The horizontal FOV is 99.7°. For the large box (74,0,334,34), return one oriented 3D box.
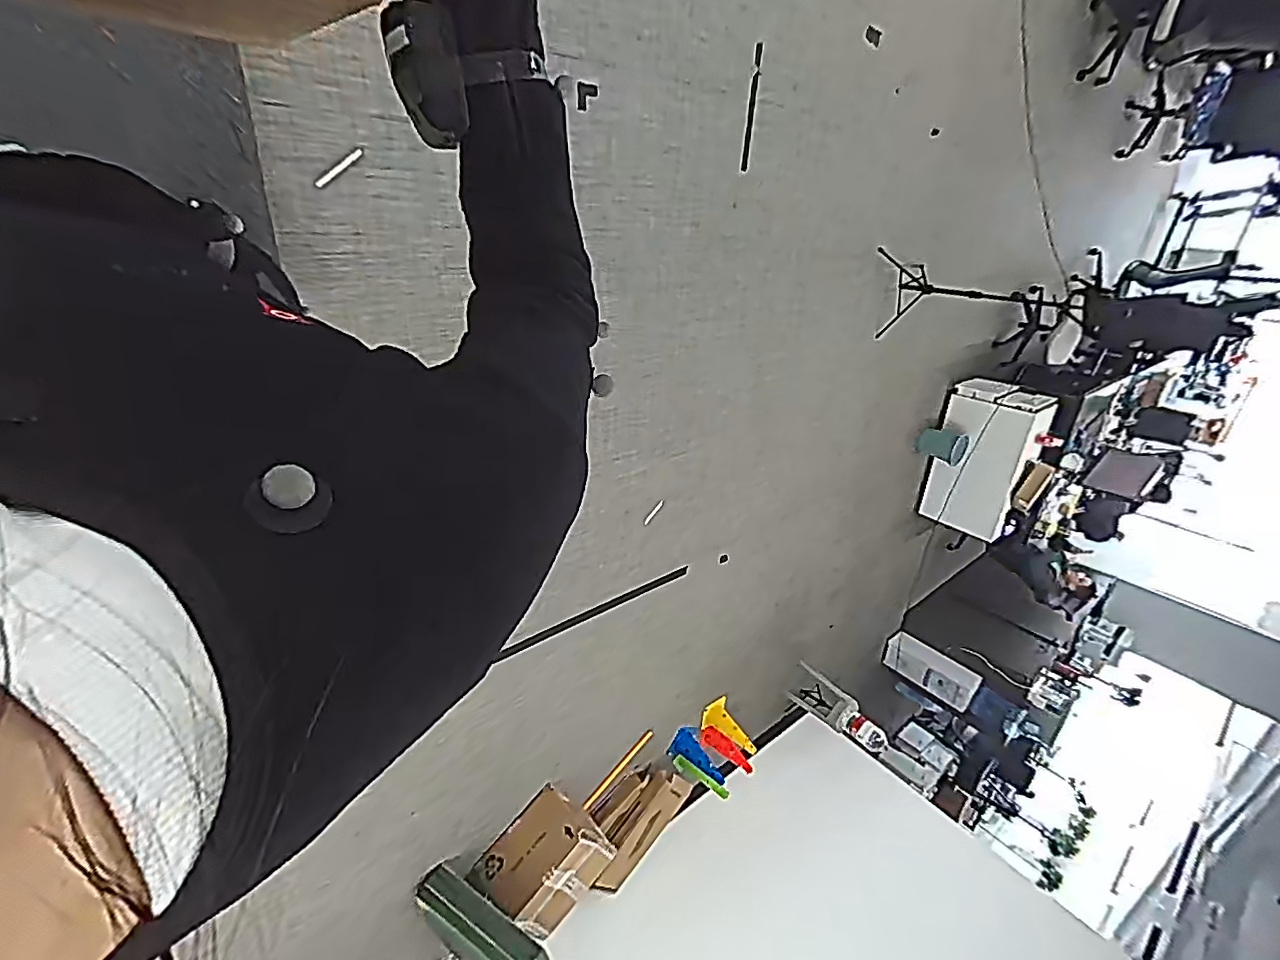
[{"bbox_3d":[-0.376,-0.409,0.199,0.408,0.320,0.320,-18,129,-36],"label":"large box"}]
